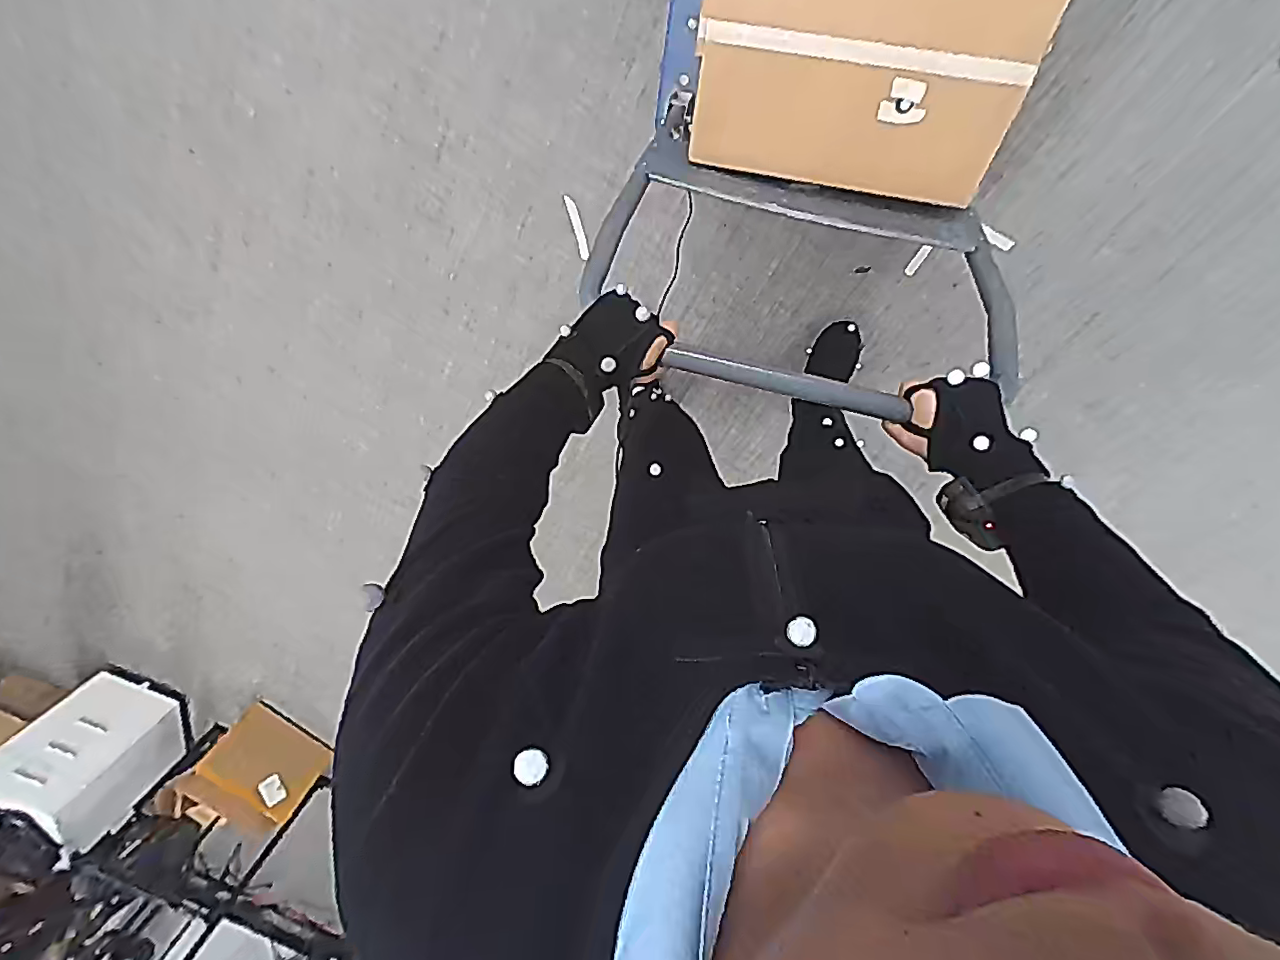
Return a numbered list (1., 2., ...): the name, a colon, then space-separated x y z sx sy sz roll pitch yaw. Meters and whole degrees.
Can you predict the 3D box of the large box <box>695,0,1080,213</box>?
1. large box: 0.311 -0.618 0.763 0.408 0.320 0.320 12 137 4
